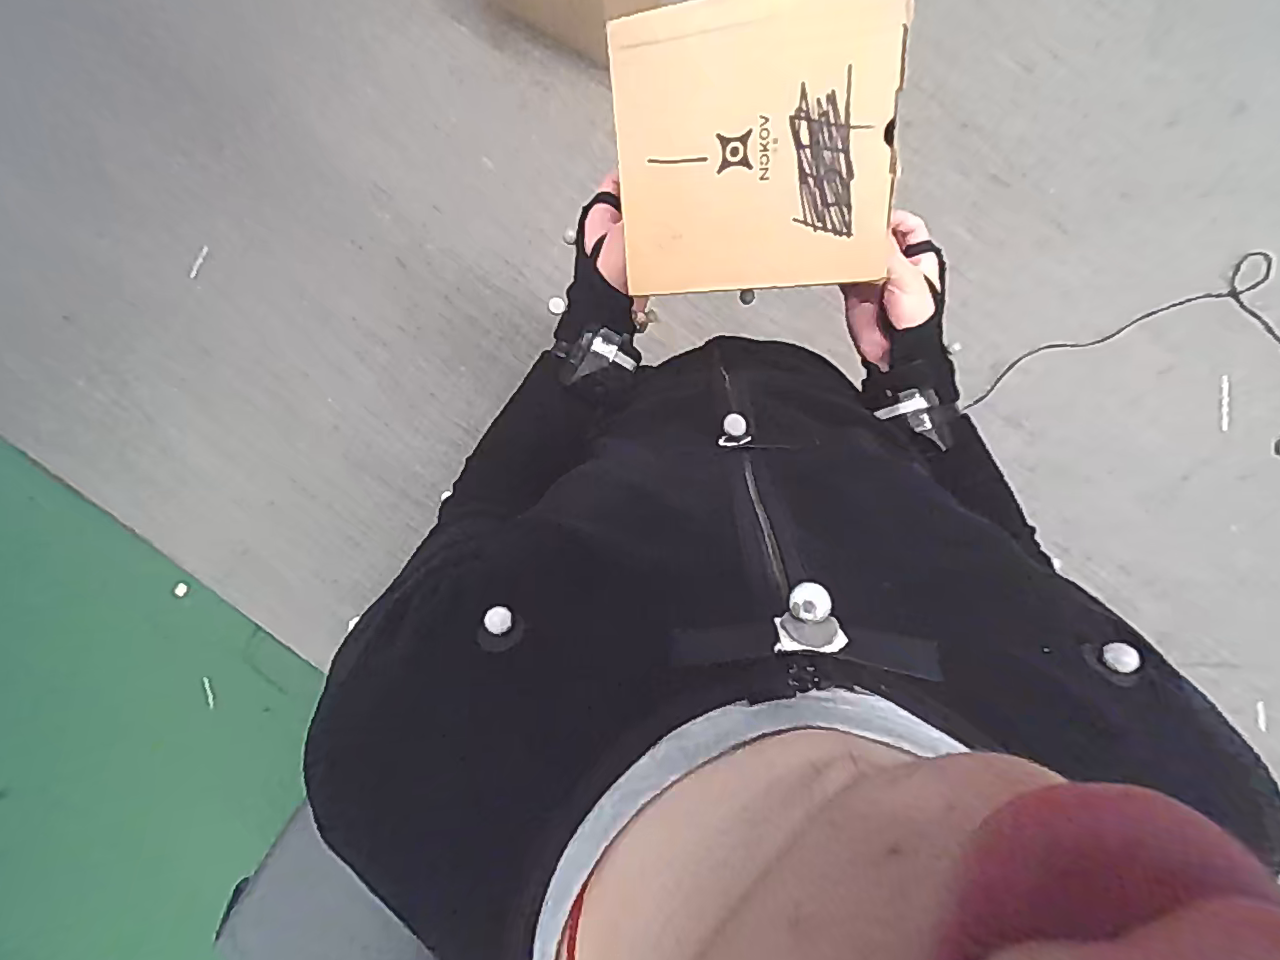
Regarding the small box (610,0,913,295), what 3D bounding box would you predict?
[{"bbox_3d":[0.091,-0.239,0.413,0.179,0.176,0.168,2,113,17],"label":"small box"}]
